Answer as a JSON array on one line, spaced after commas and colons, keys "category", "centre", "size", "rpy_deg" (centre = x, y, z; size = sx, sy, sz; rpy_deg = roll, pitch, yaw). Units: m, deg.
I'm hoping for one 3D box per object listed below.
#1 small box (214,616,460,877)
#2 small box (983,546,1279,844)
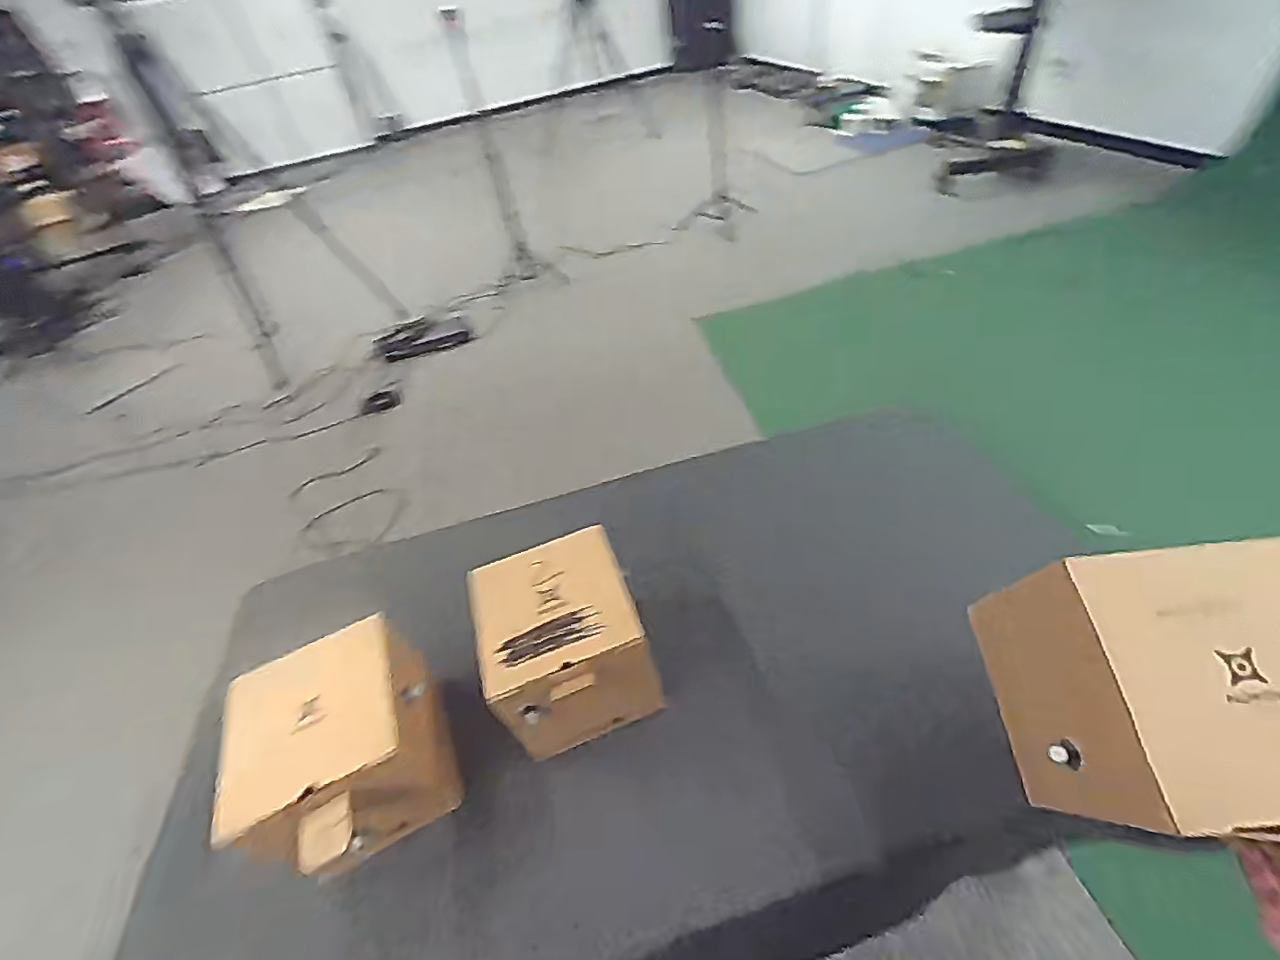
[{"category": "small box", "centre": [-0.322, 0.293, 0.601], "size": [0.168, 0.176, 0.179], "rpy_deg": [-25, 45, -13]}, {"category": "small box", "centre": [0.409, 0.163, 0.419], "size": [0.168, 0.176, 0.179], "rpy_deg": [-5, 64, 4]}]
